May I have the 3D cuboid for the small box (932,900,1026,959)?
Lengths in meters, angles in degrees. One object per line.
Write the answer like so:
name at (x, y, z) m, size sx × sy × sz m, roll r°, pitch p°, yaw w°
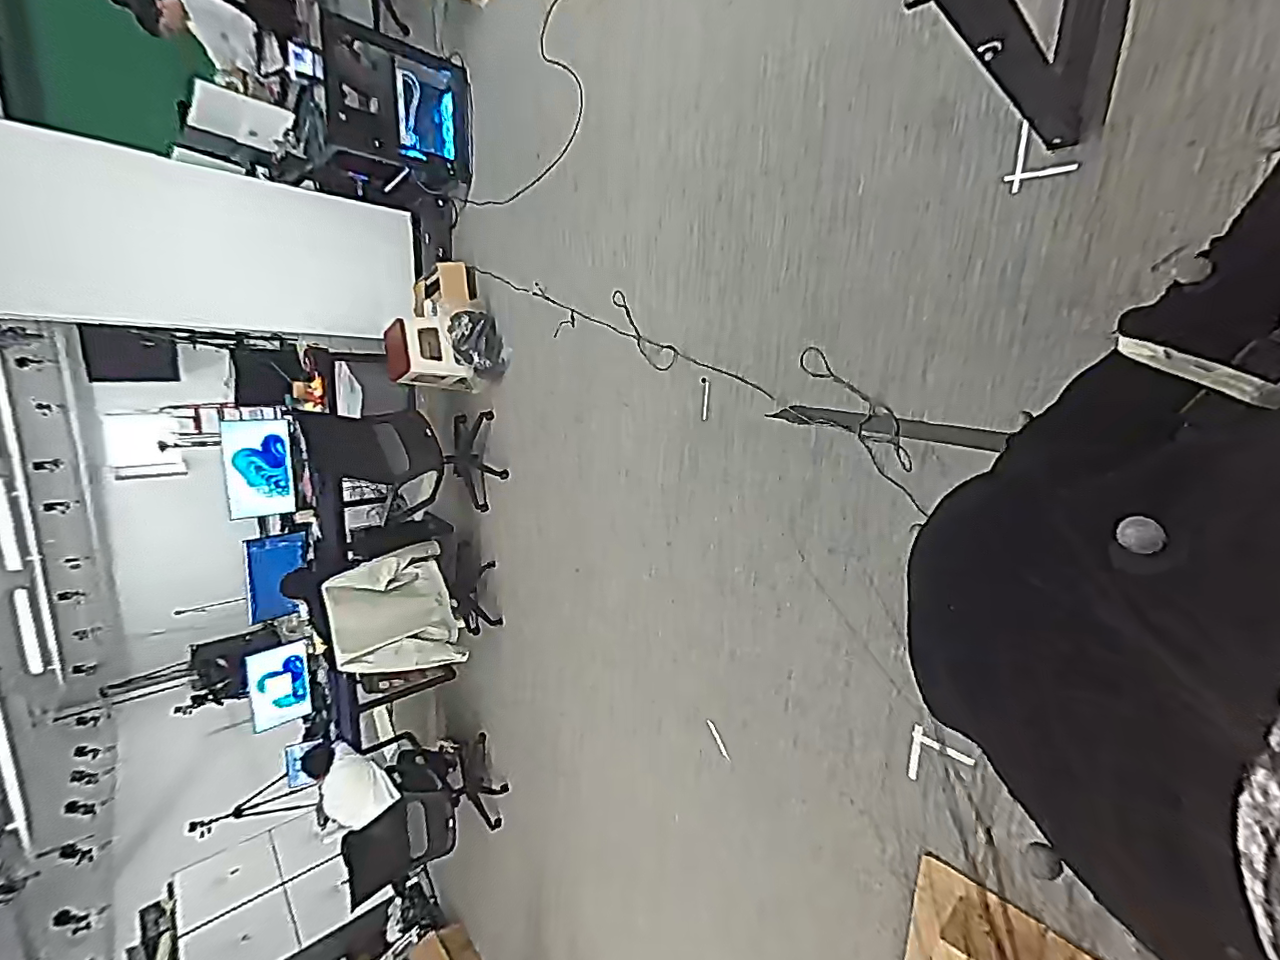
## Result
small box at (0.873, 1.261, 1.402) m, size 0.168 × 0.176 × 0.179 m, roll 15°, pitch 106°, yaw 45°
